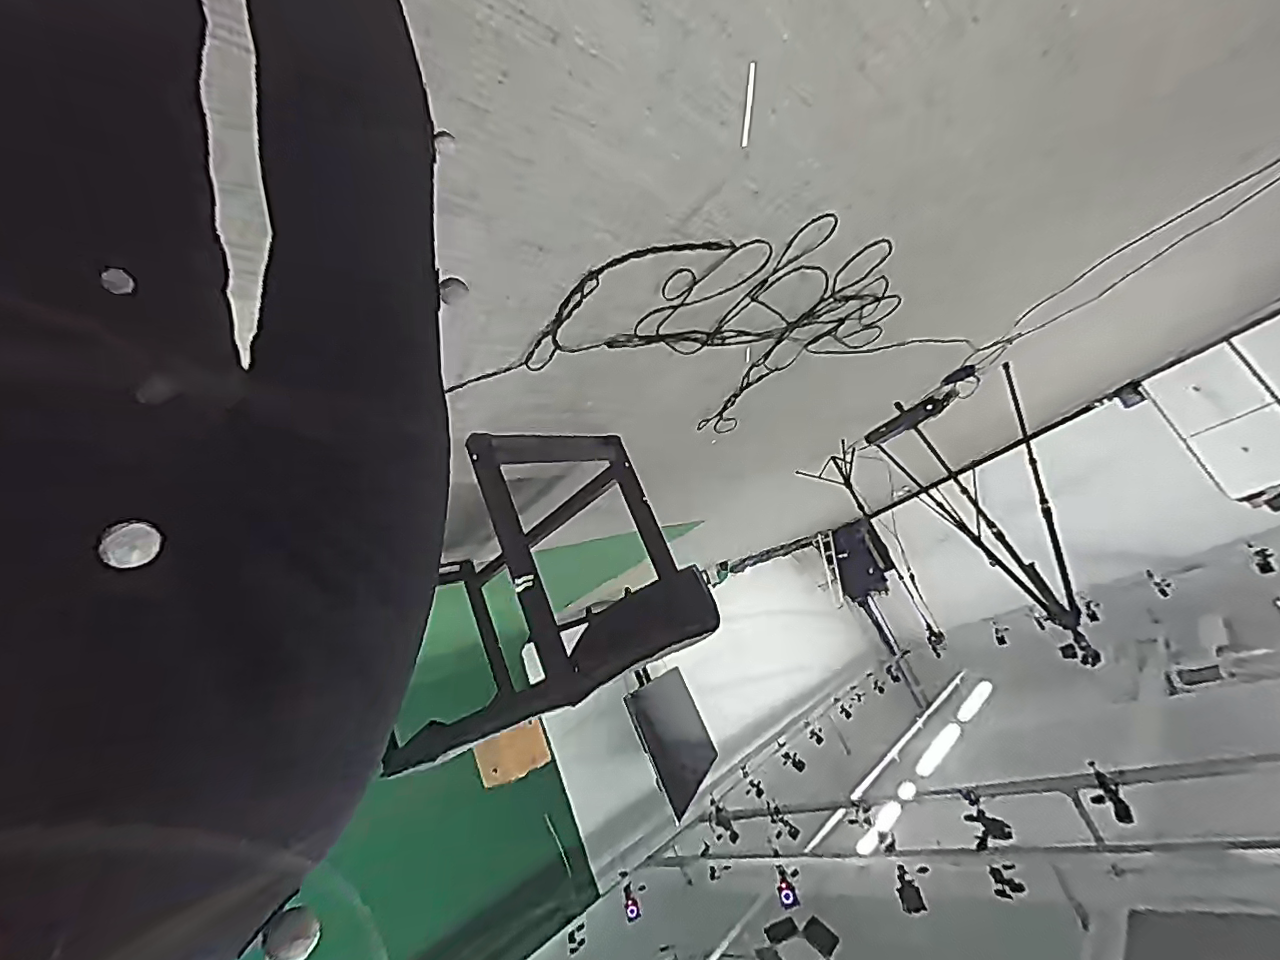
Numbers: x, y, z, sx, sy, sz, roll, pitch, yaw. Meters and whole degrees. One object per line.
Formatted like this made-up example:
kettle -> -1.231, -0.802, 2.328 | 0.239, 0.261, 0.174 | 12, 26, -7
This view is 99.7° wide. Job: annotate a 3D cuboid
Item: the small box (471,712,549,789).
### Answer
small box -> -0.441, 0.898, 1.807 | 0.179, 0.176, 0.168 | -35, 160, 36
